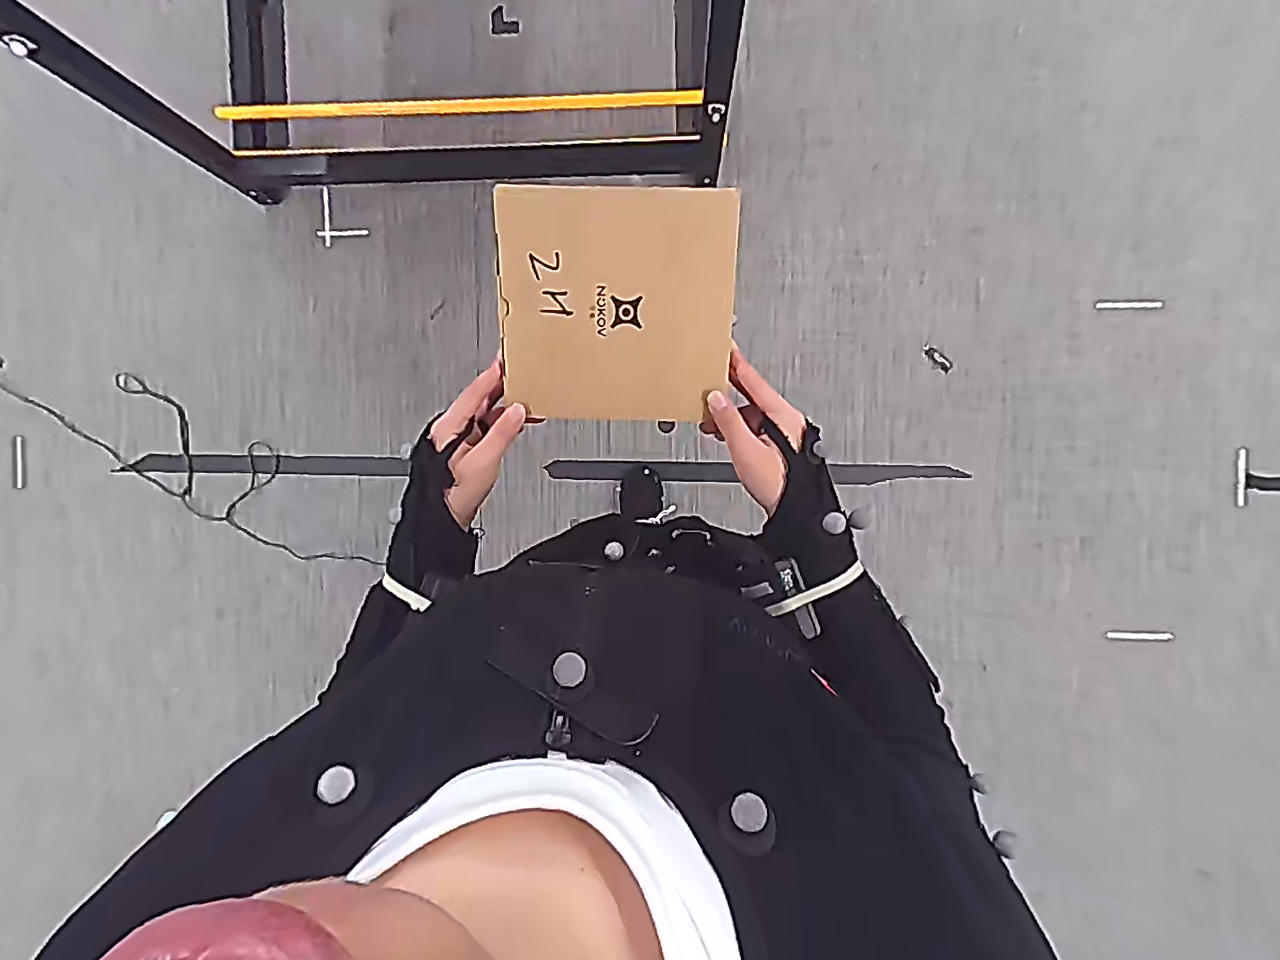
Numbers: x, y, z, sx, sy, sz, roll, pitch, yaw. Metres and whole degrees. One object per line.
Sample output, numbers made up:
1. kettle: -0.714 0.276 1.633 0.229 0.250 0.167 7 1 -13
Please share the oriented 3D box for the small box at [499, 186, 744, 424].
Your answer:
1. small box: -0.014 -0.150 0.479 0.179 0.176 0.168 2 107 1
